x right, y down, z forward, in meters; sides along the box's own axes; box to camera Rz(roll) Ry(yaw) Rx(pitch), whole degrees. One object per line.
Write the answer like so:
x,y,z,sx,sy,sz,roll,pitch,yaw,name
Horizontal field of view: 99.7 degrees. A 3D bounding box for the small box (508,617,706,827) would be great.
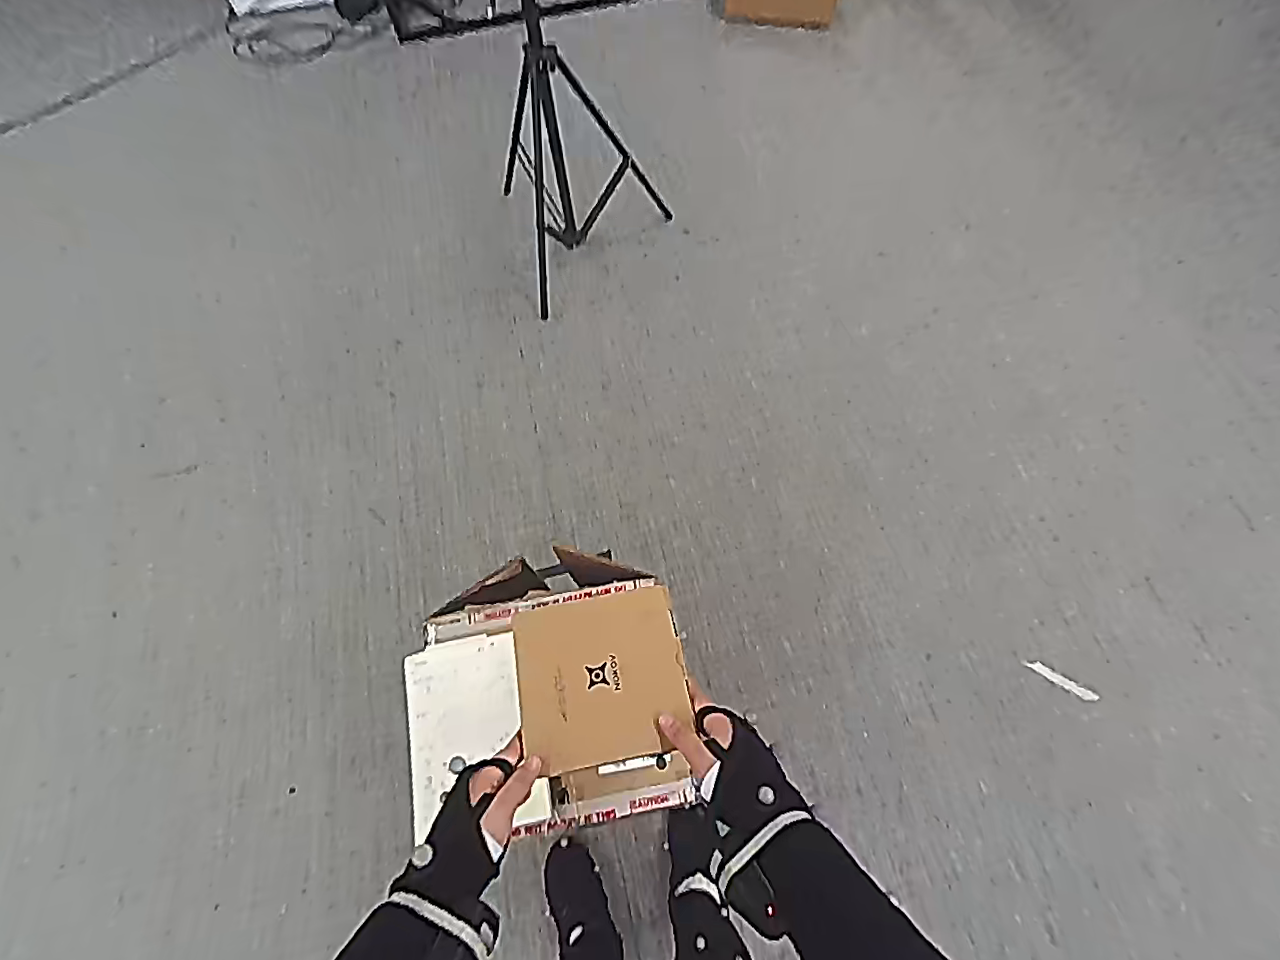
-0.035,0.265,0.605,0.179,0.176,0.168,-12,63,-3,small box
